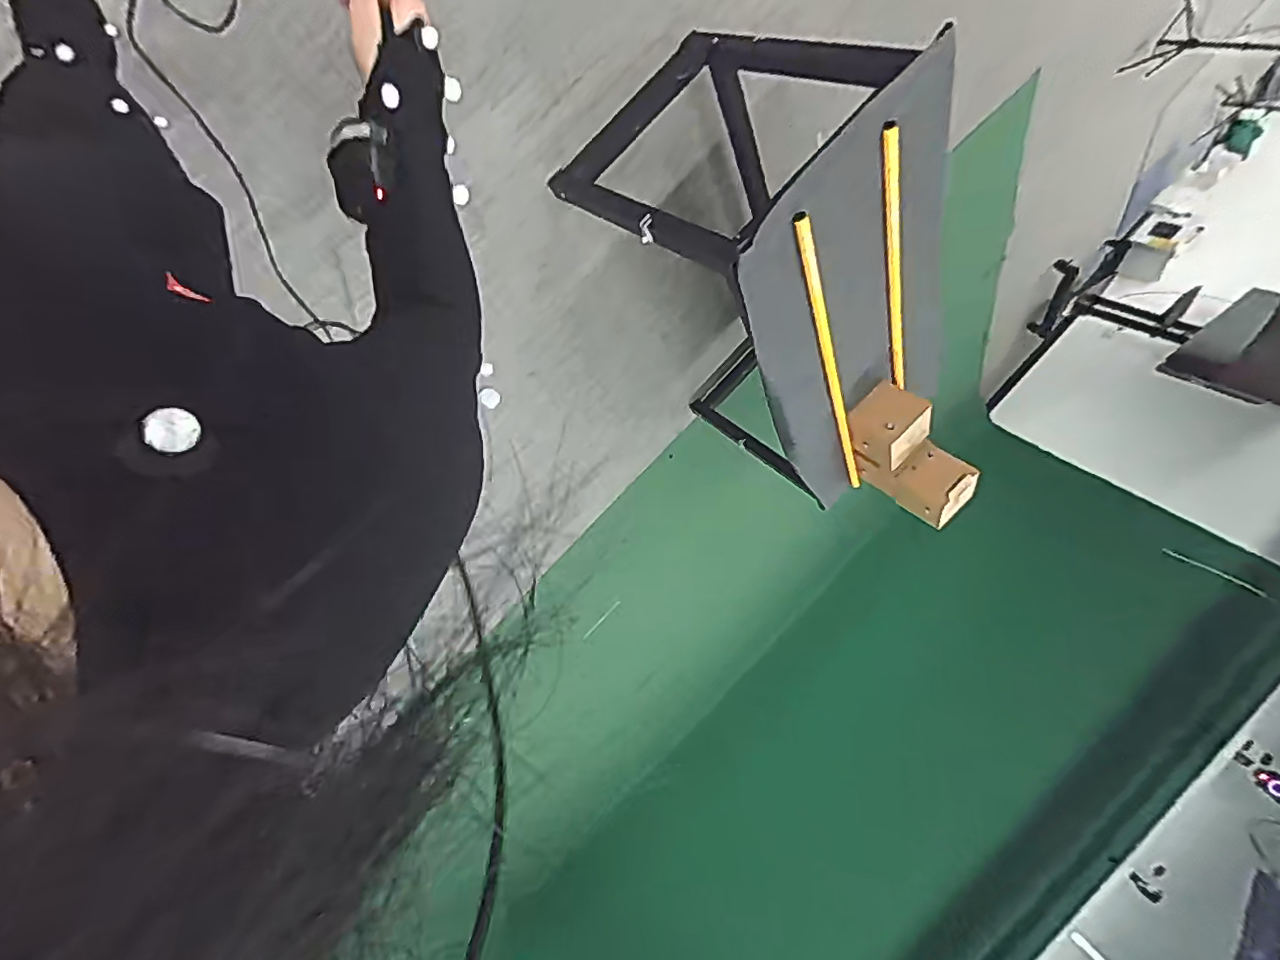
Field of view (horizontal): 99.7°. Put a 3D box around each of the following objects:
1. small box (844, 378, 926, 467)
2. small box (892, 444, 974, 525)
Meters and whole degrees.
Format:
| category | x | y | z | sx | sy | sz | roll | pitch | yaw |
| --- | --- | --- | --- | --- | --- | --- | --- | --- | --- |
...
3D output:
| category | x | y | z | sx | sy | sz | roll | pitch | yaw |
| --- | --- | --- | --- | --- | --- | --- | --- | --- | --- |
| small box | 0.752 | -0.179 | 1.673 | 0.179 | 0.176 | 0.168 | -45 | 144 | -4 |
| small box | 0.945 | 0.008 | 1.759 | 0.168 | 0.176 | 0.179 | -43 | 144 | -5 |
